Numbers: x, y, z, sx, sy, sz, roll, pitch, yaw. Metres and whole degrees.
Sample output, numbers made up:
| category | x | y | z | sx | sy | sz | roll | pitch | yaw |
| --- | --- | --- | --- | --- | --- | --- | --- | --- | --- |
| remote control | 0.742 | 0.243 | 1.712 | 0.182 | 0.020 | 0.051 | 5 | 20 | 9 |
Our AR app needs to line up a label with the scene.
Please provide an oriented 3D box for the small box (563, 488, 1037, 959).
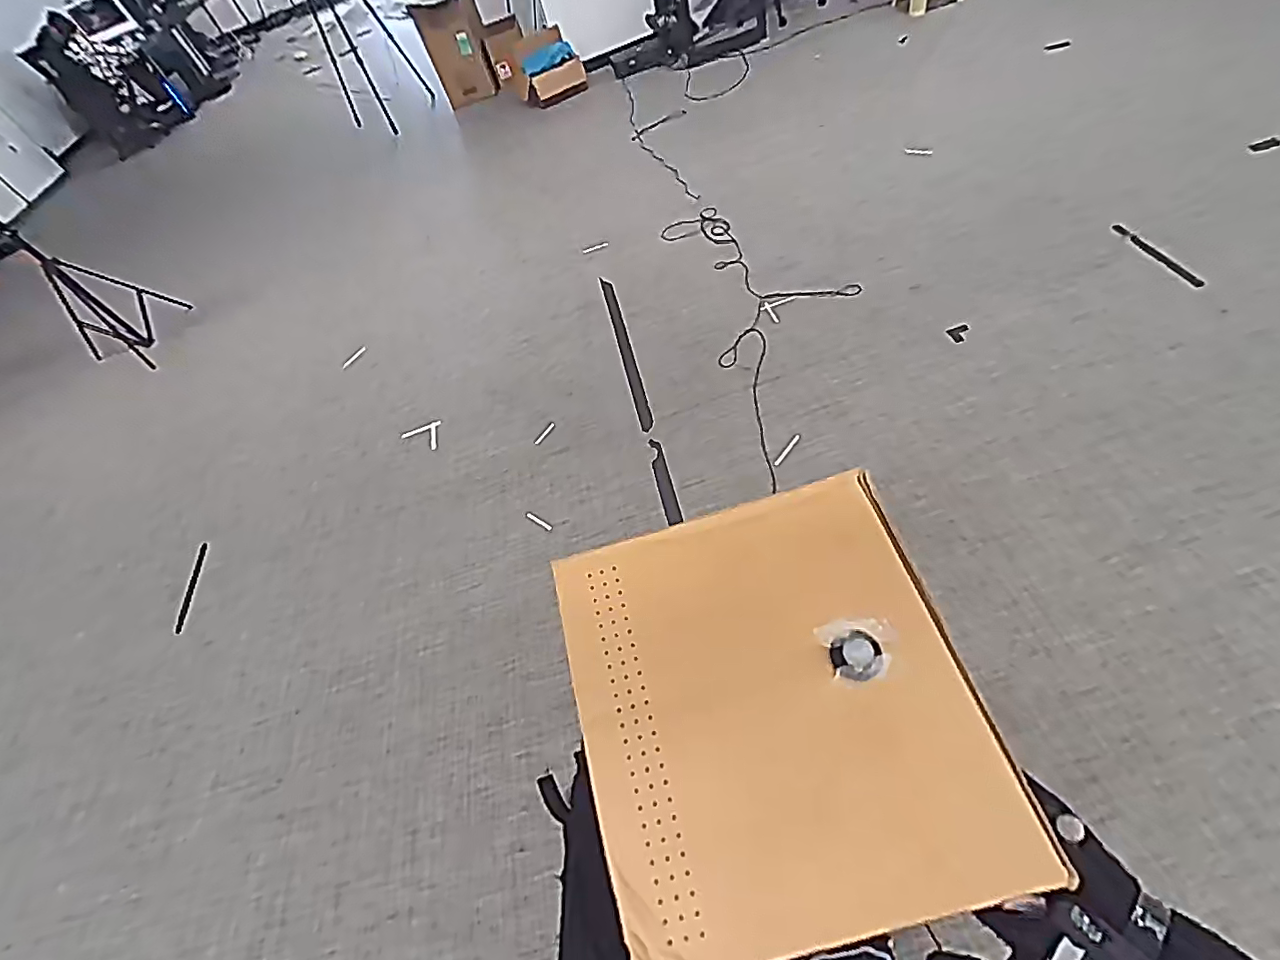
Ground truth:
| category | x | y | z | sx | sy | sz | roll | pitch | yaw |
| --- | --- | --- | --- | --- | --- | --- | --- | --- | --- |
| small box | 0.064 | 0.135 | 0.315 | 0.176 | 0.168 | 0.179 | -18 | 62 | 3 |
